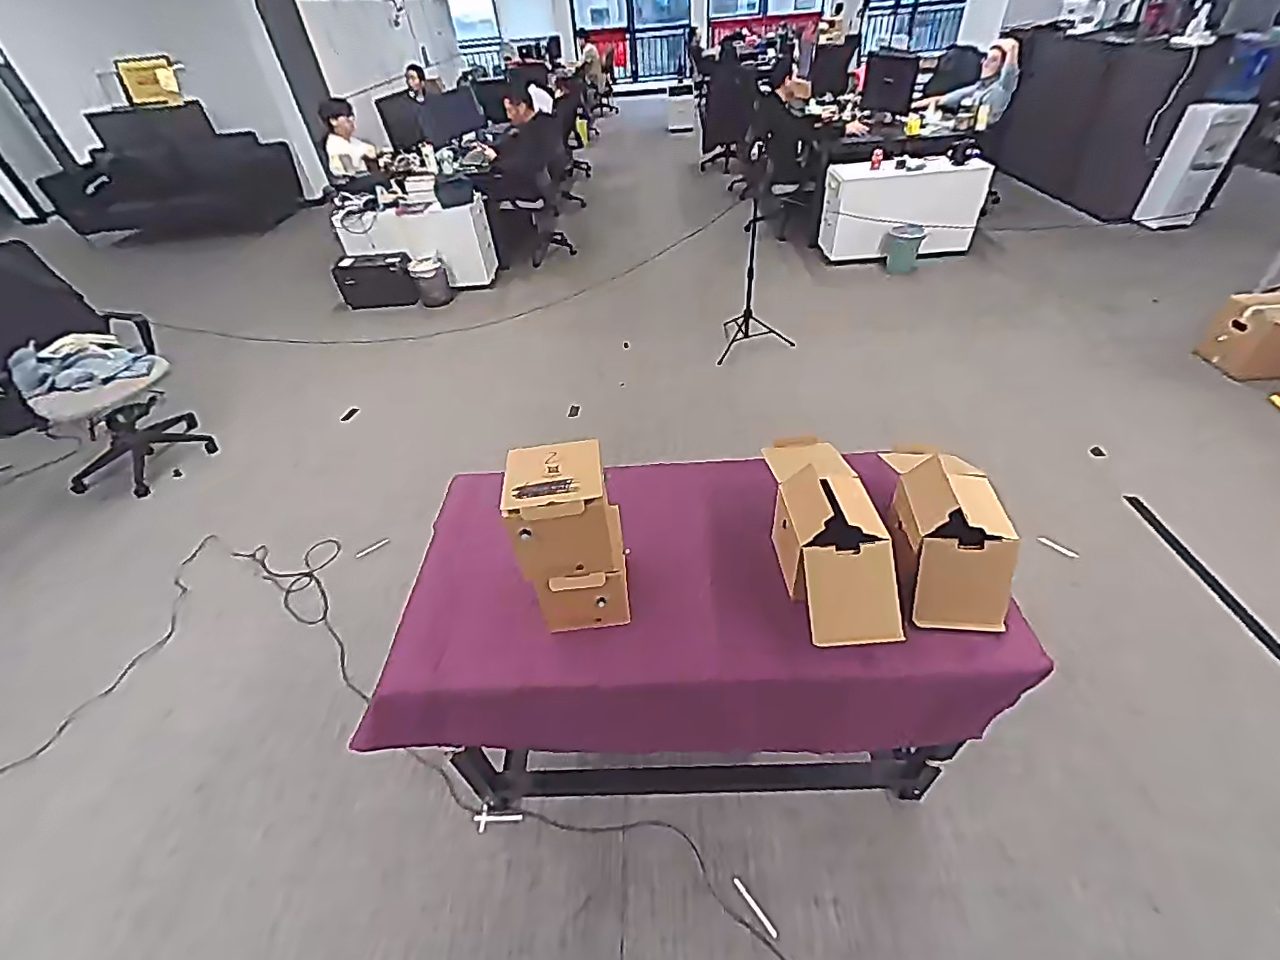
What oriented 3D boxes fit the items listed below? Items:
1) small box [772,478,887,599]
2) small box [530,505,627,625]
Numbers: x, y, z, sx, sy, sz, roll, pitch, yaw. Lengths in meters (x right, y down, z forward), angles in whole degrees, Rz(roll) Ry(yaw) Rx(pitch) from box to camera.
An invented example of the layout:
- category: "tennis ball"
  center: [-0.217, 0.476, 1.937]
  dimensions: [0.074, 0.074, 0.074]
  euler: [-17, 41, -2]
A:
- category: "small box"
  center: [0.369, 0.118, 1.092]
  dimensions: [0.168, 0.176, 0.179]
  euler: [-5, 42, 2]
- category: "small box"
  center: [-0.116, 0.175, 1.082]
  dimensions: [0.168, 0.176, 0.179]
  euler: [-5, 42, -1]
